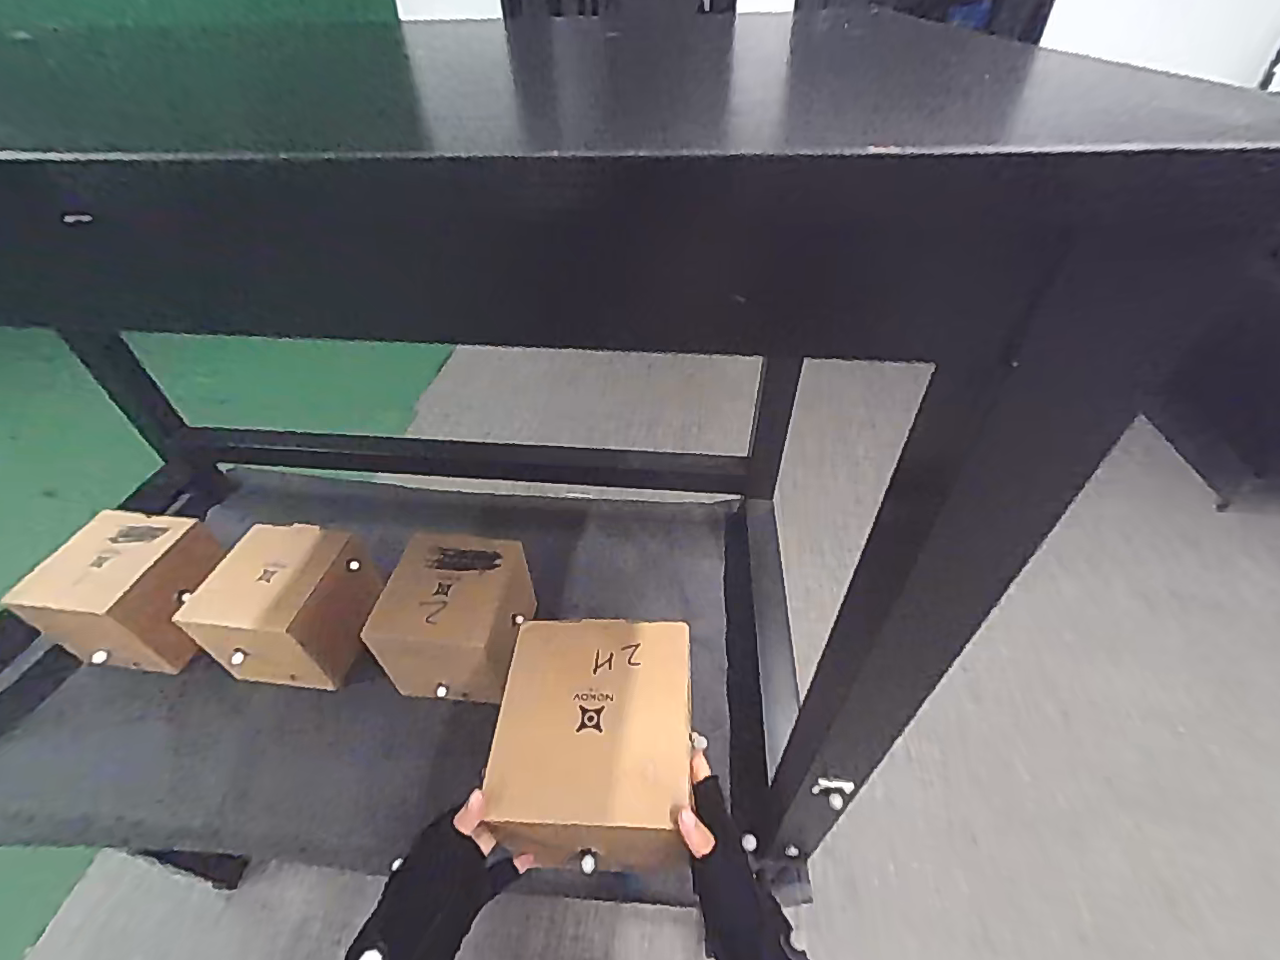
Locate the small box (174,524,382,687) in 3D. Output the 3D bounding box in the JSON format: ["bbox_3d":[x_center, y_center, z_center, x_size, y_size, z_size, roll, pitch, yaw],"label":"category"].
[{"bbox_3d":[-0.524,0.191,0.819,0.168,0.176,0.179,4,43,6],"label":"small box"}]

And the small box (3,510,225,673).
[{"bbox_3d":[-0.775,0.172,0.841,0.168,0.176,0.179,5,44,6],"label":"small box"}]
